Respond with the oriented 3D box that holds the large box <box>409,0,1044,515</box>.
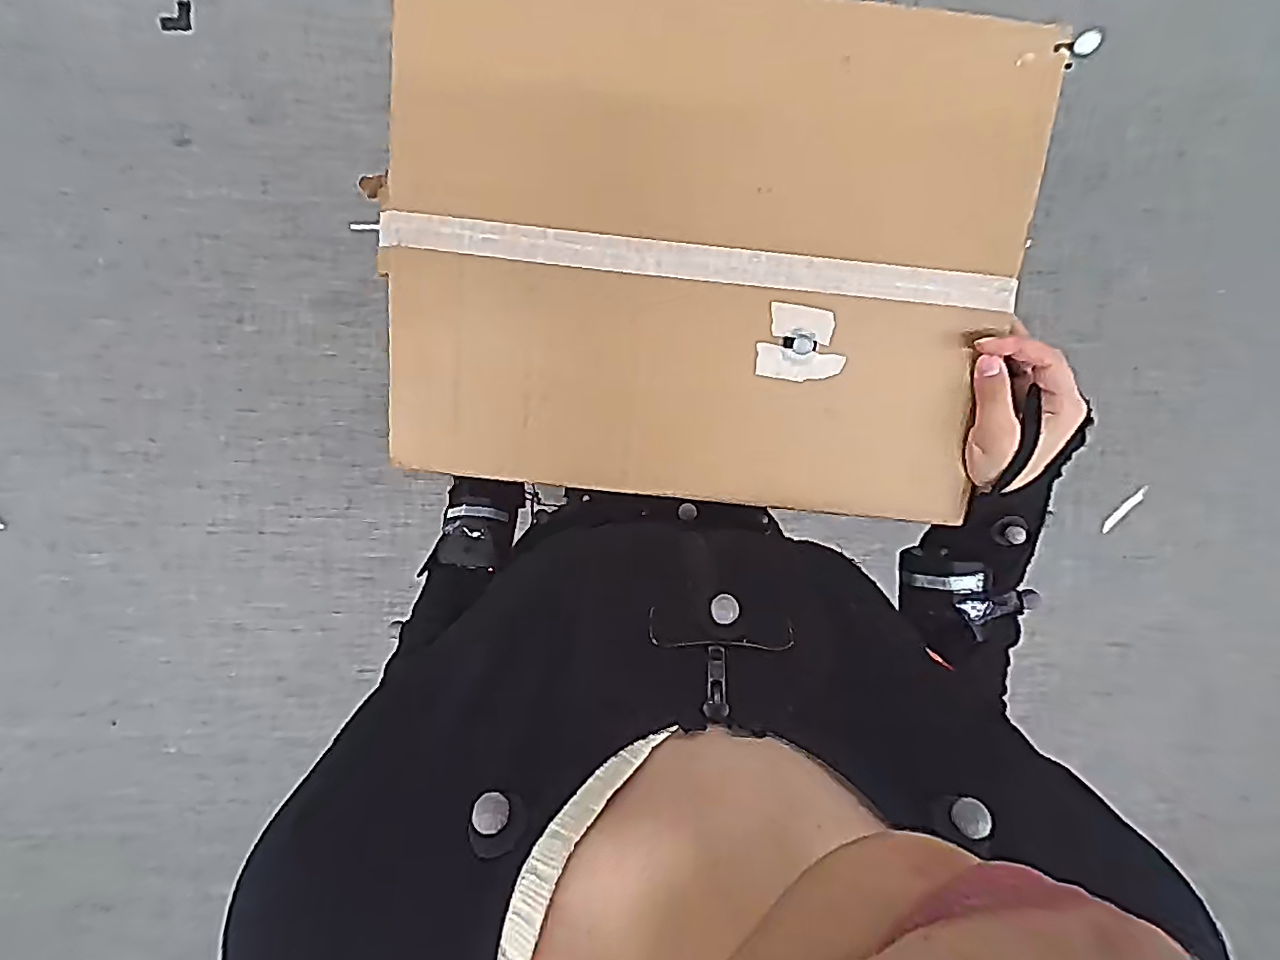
[{"bbox_3d":[0.042,-0.165,0.506,0.408,0.320,0.320,5,102,-3],"label":"large box"}]
